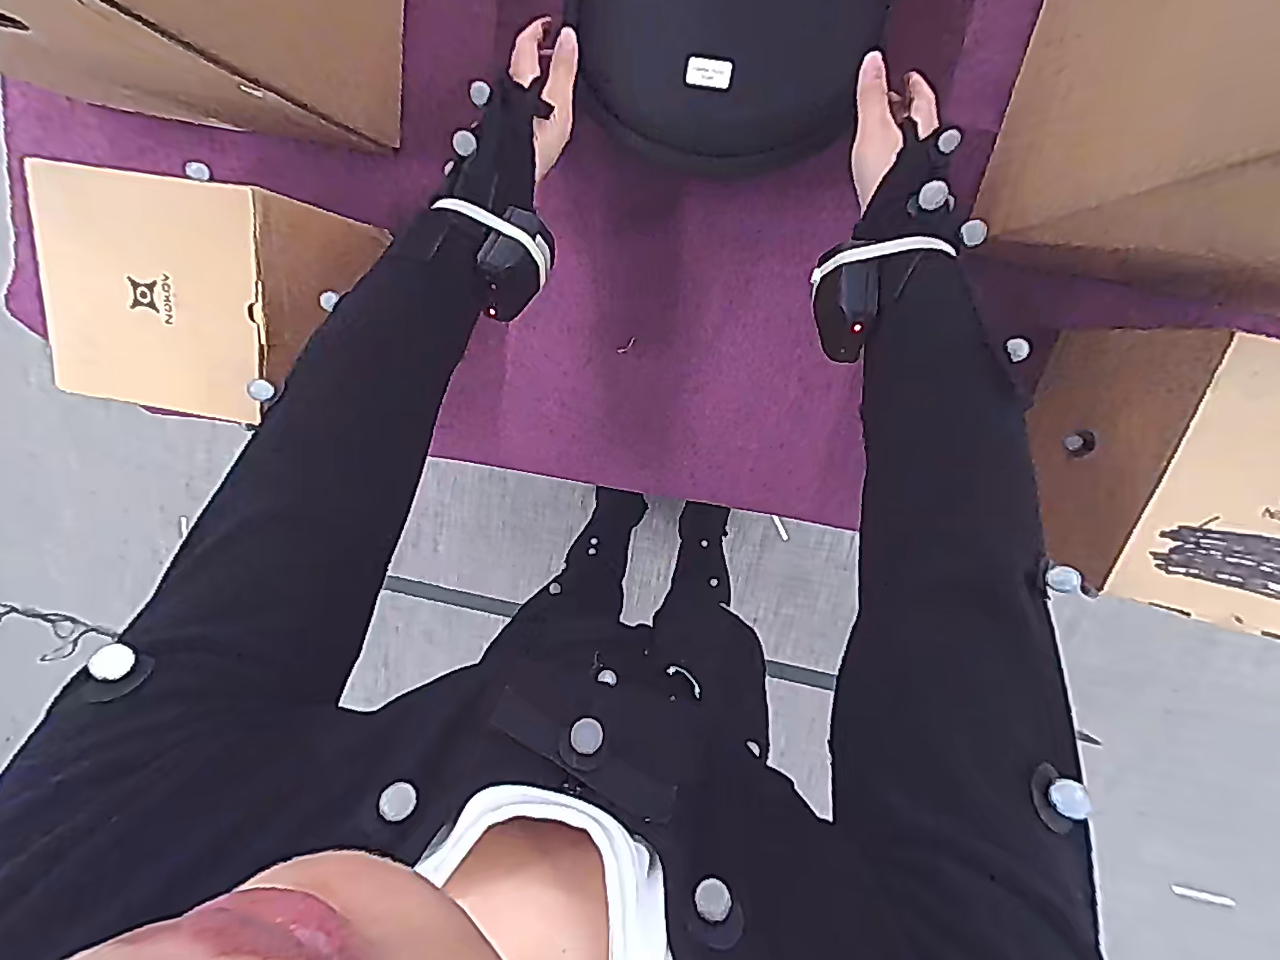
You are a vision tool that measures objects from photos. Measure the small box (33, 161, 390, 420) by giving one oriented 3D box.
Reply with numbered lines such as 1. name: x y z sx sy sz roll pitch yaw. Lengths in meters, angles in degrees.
1. small box: -0.351 -0.156 0.477 0.179 0.176 0.168 9 105 4

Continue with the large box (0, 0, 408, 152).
1. large box: -0.354 -0.473 0.314 0.320 0.320 0.408 10 109 3
